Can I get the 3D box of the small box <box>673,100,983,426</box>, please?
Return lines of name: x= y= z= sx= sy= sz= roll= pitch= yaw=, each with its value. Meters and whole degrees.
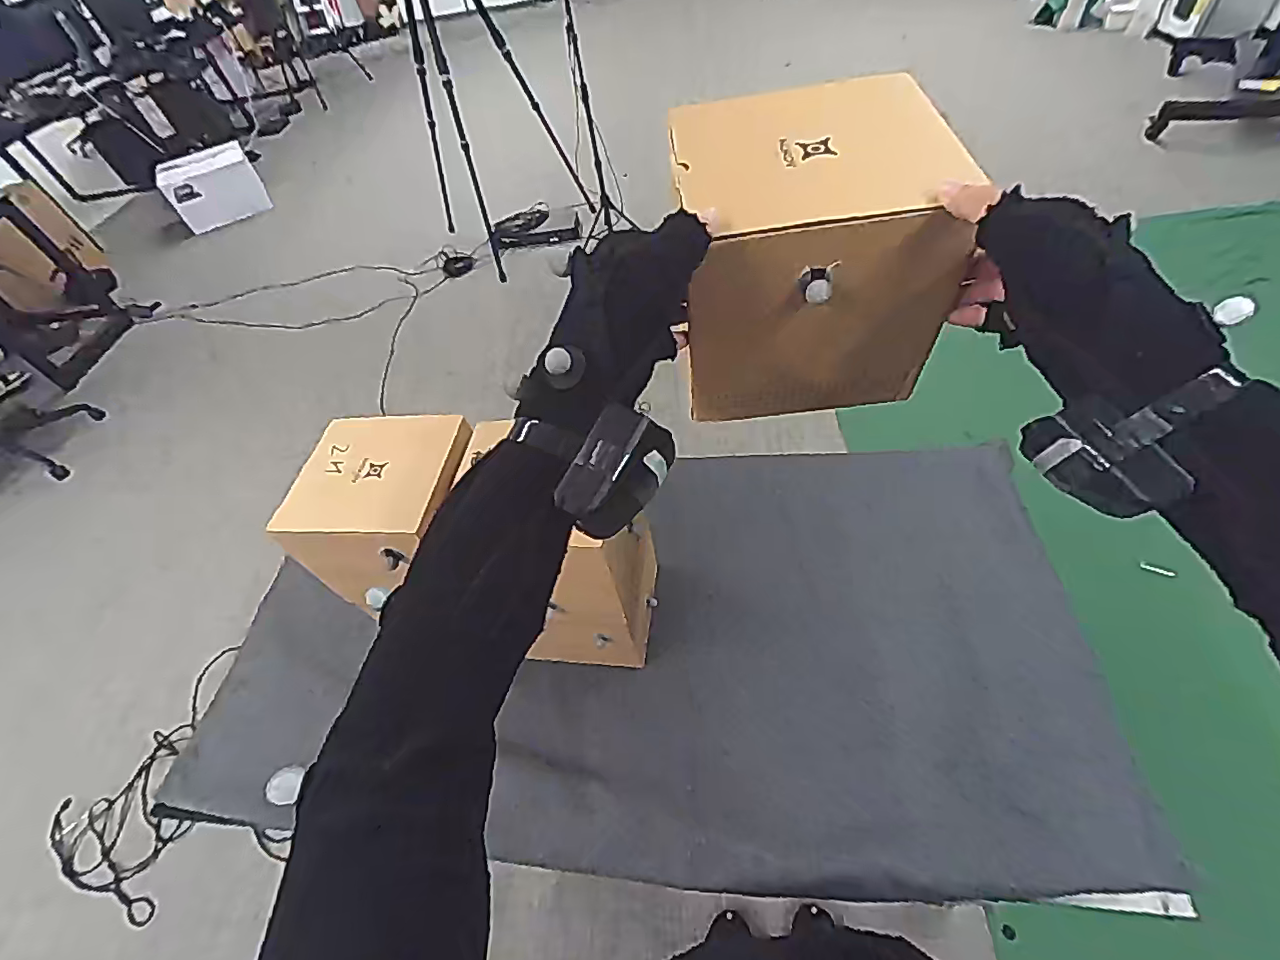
small box: x=0.122 y=-0.162 z=0.430 sx=0.179 sy=0.176 sz=0.168 roll=-6 pitch=55 yaw=5
